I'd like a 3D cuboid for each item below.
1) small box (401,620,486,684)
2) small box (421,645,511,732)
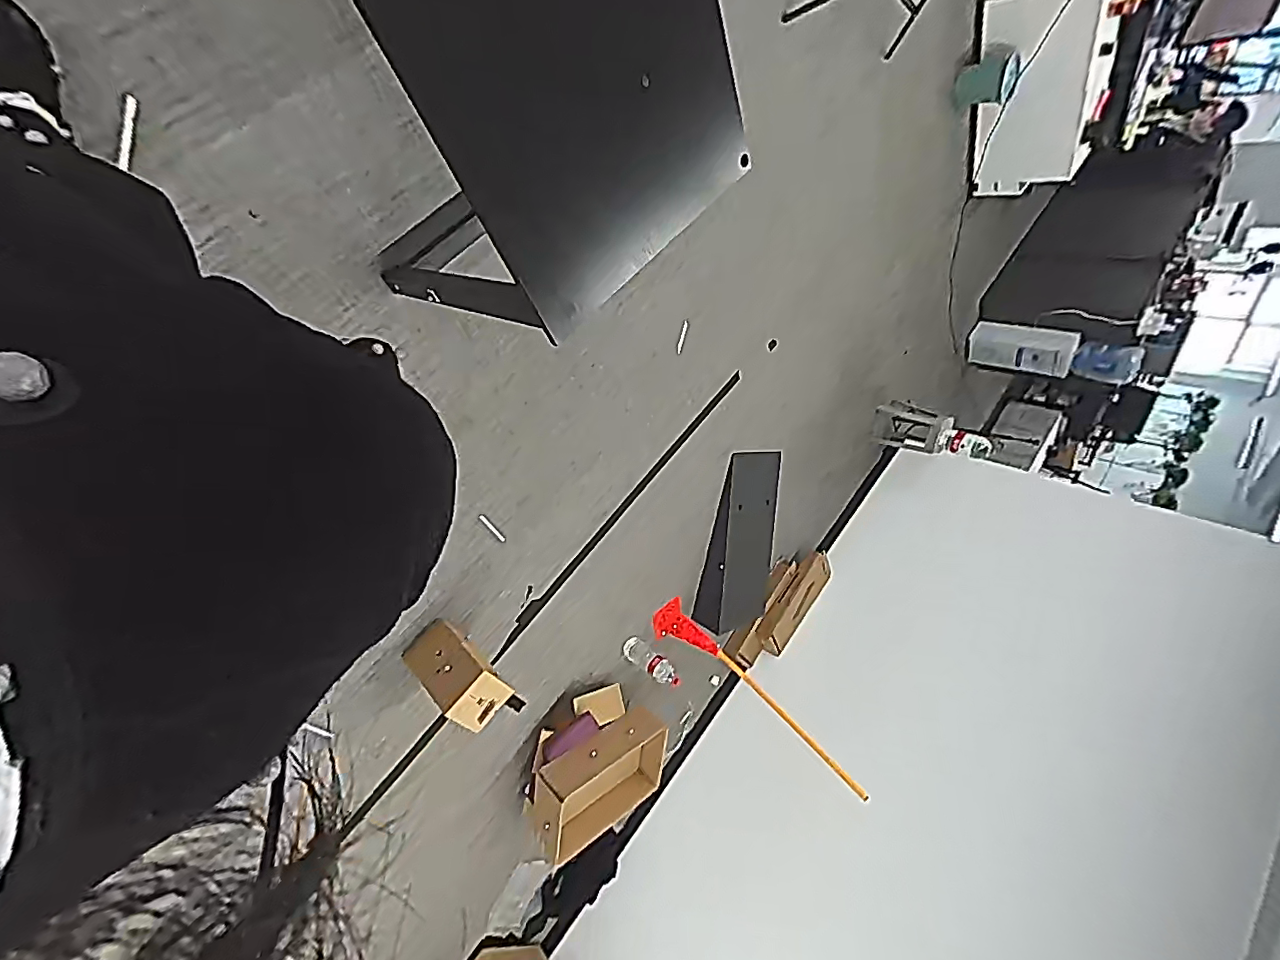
[{"bbox_3d":[-0.661,0.602,1.815,0.179,0.176,0.168,-48,136,-19],"label":"small box"},{"bbox_3d":[-0.549,0.653,1.705,0.168,0.176,0.179,-49,136,-19],"label":"small box"}]
